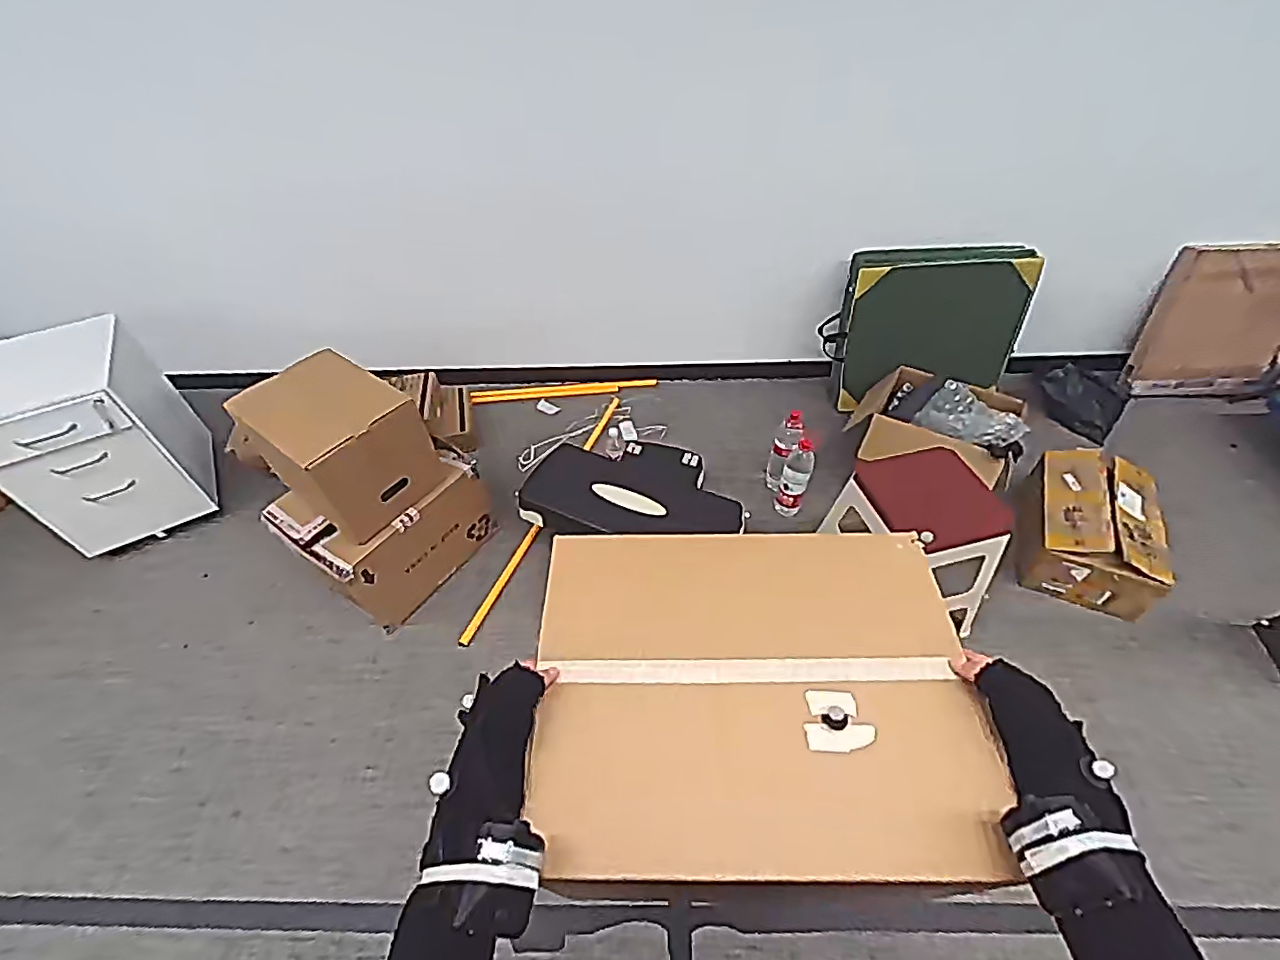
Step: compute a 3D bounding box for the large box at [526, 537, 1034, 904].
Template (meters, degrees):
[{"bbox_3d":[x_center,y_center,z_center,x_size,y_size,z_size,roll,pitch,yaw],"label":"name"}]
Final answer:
[{"bbox_3d":[0.108,0.281,0.625,0.408,0.320,0.320,-1,50,1],"label":"large box"}]
